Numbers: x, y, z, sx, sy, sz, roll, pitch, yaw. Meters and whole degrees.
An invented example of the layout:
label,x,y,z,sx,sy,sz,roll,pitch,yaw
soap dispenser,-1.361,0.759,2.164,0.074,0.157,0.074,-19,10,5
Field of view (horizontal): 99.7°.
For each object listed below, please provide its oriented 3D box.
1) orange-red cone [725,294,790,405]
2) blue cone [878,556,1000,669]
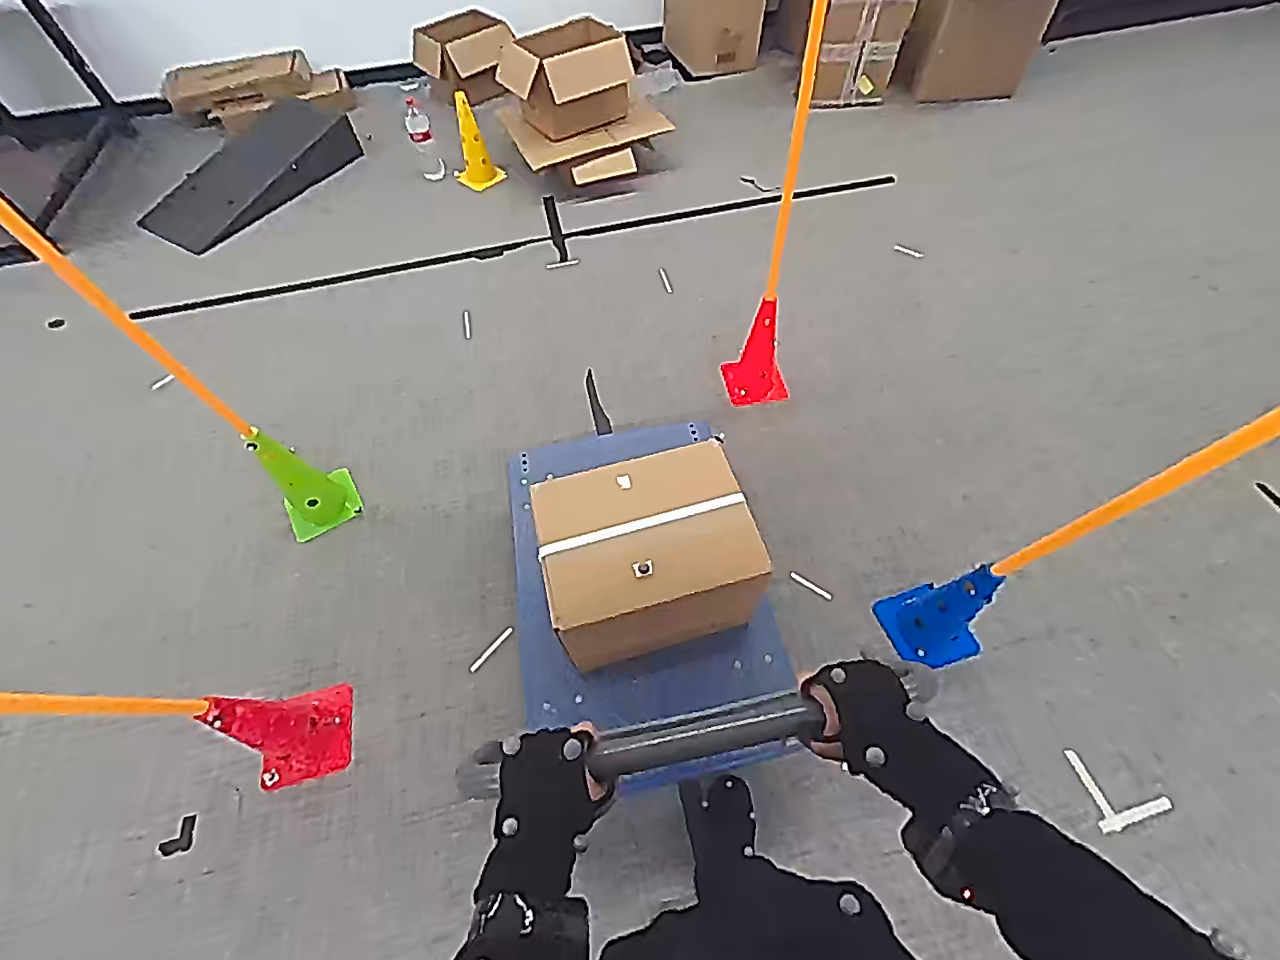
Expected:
label,x,y,z,sx,sy,sz,roll,pitch,yaw
orange-red cone,0.396,-0.431,1.709,0.199,0.360,0.198,-6,58,-3
blue cone,0.727,0.283,1.250,0.193,0.380,0.192,-16,57,-8
